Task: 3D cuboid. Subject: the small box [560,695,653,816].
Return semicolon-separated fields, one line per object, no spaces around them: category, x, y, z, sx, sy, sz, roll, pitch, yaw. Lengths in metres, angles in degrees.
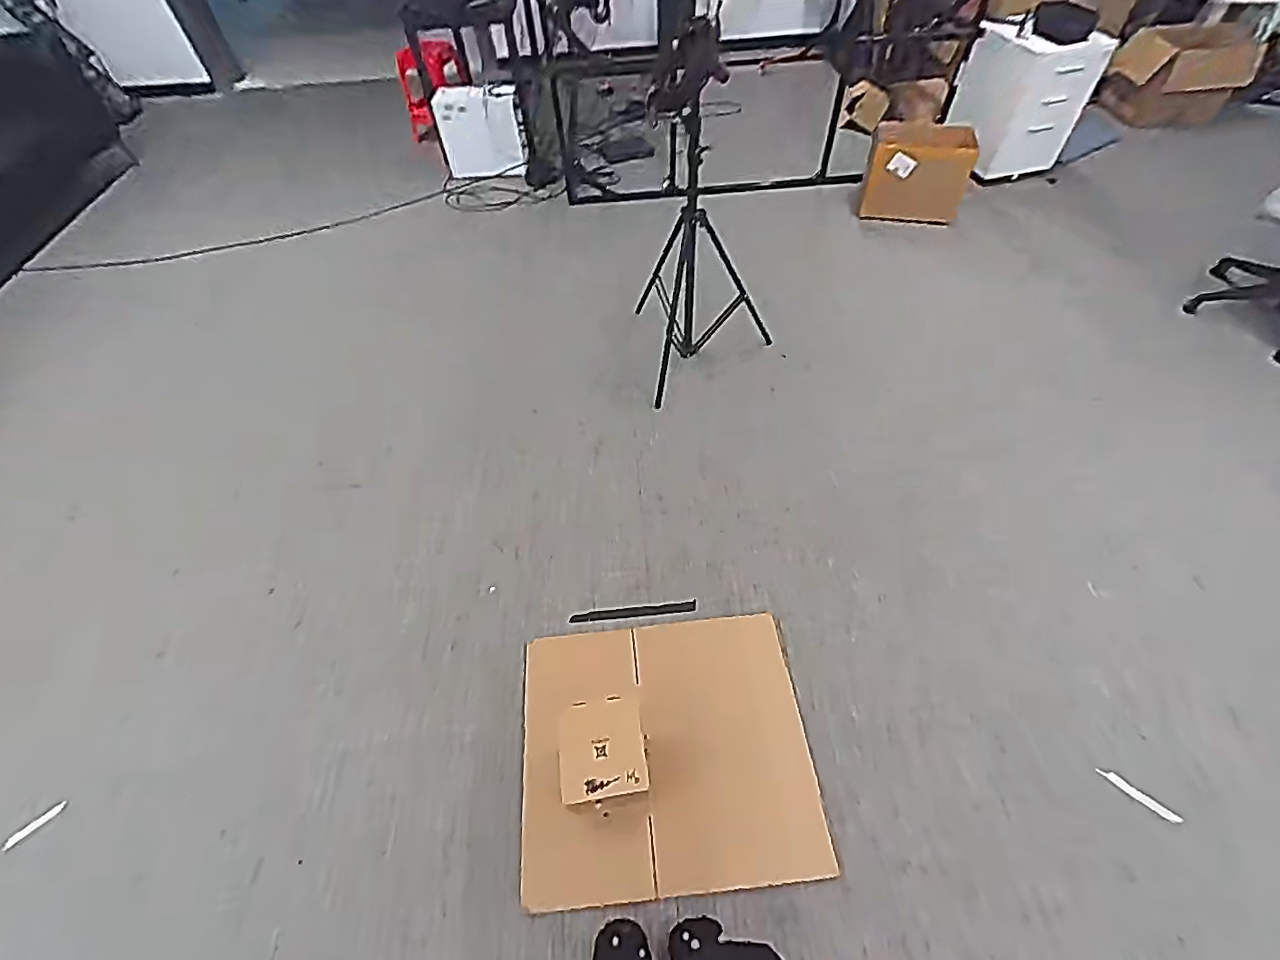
small box;-0.068;0.564;1.104;0.168;0.176;0.179;-9;53;-3

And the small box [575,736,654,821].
small box;-0.060;0.665;1.234;0.168;0.176;0.179;-8;53;-3
